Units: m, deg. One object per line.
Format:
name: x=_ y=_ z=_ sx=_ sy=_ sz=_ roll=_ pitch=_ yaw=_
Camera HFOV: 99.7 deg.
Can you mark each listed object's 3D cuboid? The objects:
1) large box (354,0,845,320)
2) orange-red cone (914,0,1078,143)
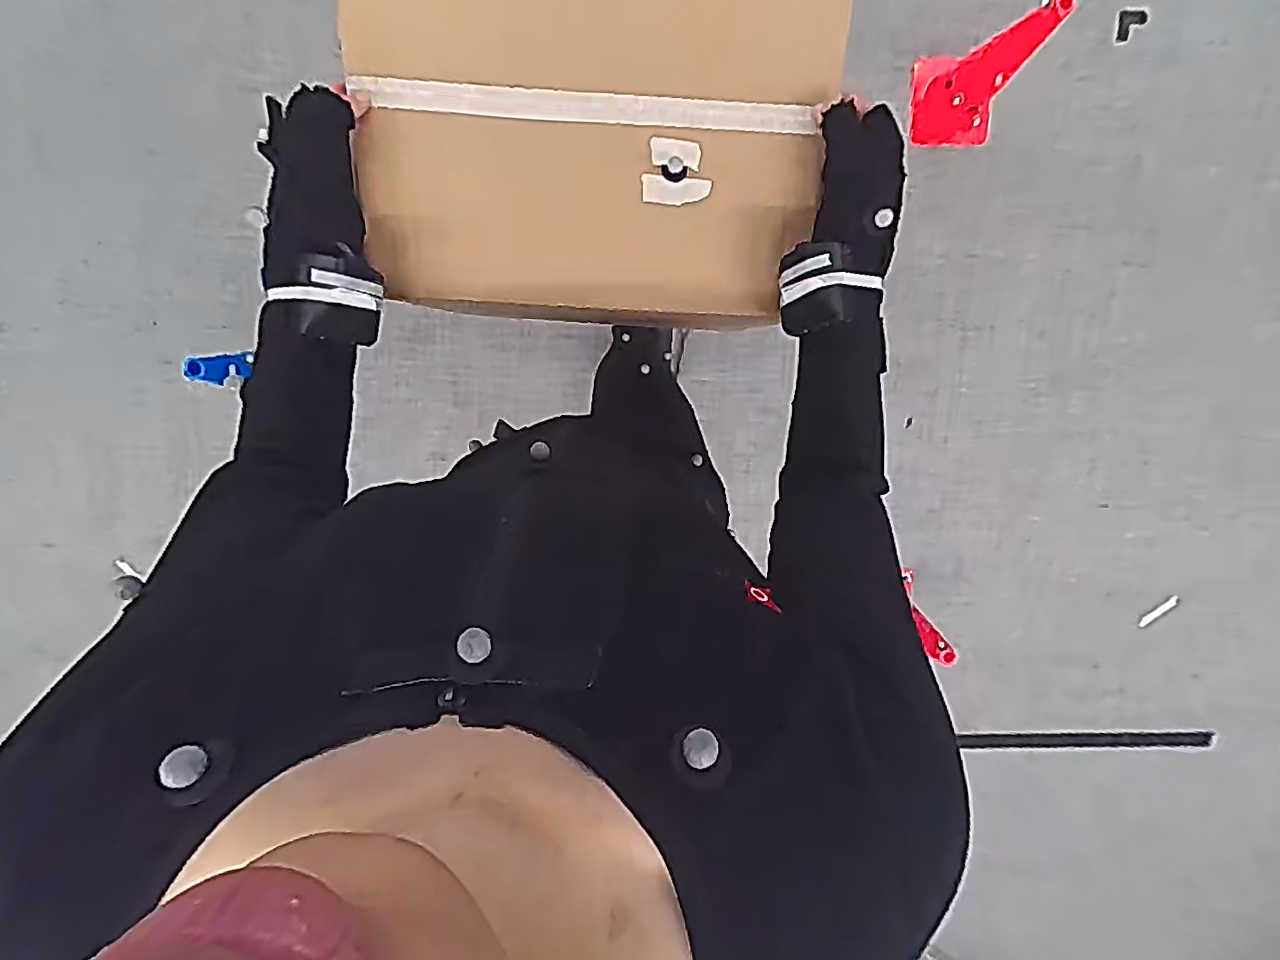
large box: x=-0.040 y=-0.351 z=0.596 sx=0.408 sy=0.320 sz=0.320 roll=2 pitch=104 yaw=-3
orange-red cone: x=0.783 y=-0.919 z=1.166 sx=0.198 sy=0.360 sz=0.199 roll=-1 pitch=98 yaw=-3
